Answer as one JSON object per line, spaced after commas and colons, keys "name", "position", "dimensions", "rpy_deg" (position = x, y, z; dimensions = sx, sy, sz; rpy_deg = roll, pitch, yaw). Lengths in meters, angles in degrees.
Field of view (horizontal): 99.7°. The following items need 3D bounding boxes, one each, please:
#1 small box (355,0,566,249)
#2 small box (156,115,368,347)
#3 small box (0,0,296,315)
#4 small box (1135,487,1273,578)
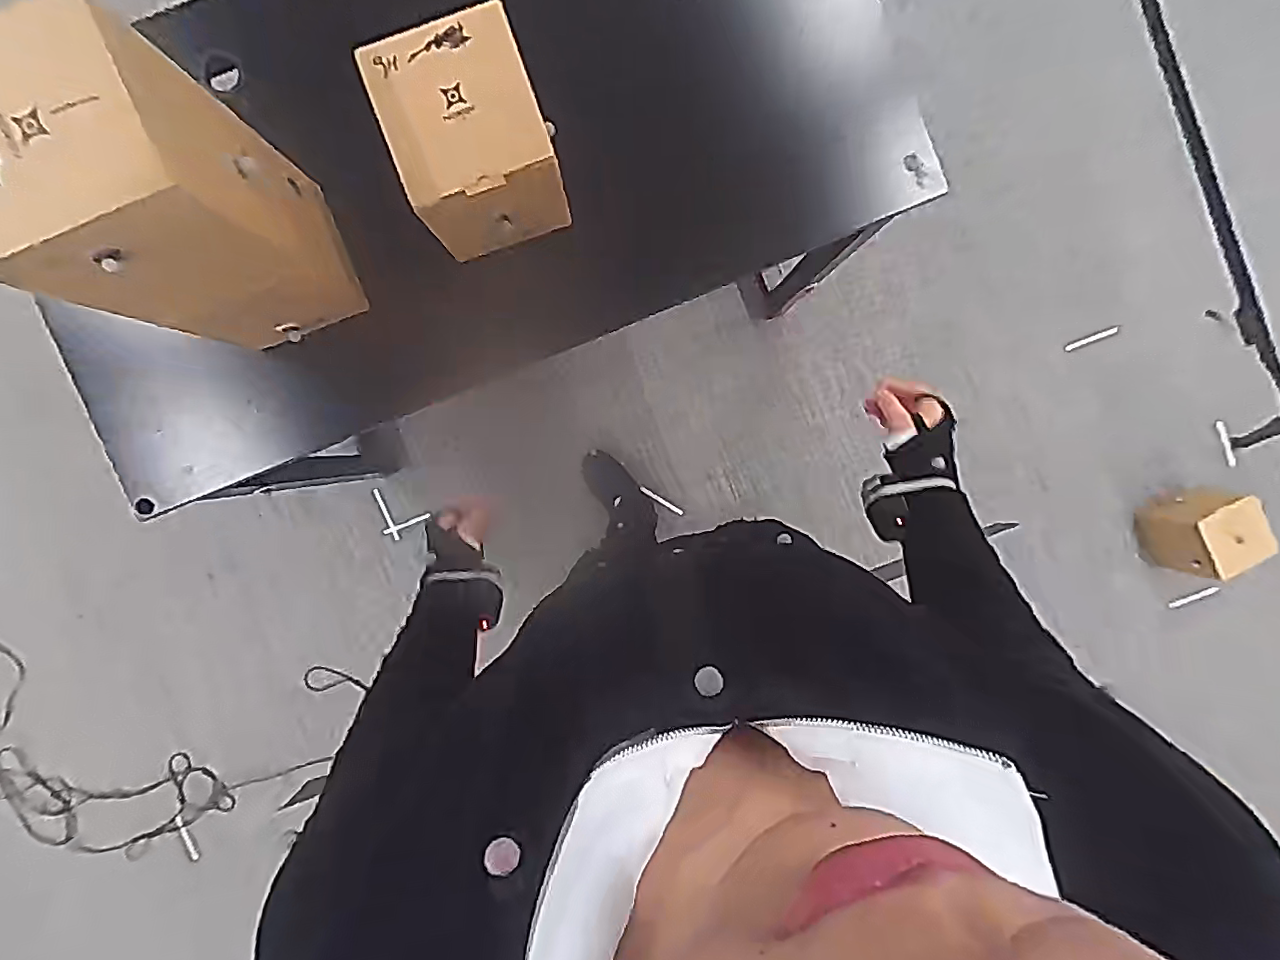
{"name": "small box", "position": [-0.197, -0.402, 0.652], "dimensions": [0.168, 0.176, 0.179], "rpy_deg": [-20, 94, 0]}
{"name": "small box", "position": [-0.471, -0.281, 0.653], "dimensions": [0.168, 0.176, 0.179], "rpy_deg": [-22, 94, 1]}
{"name": "small box", "position": [-0.467, -0.271, 0.489], "dimensions": [0.179, 0.176, 0.168], "rpy_deg": [-23, 93, 0]}
{"name": "small box", "position": [1.505, 0.133, 1.453], "dimensions": [0.168, 0.176, 0.179], "rpy_deg": [-28, 94, 0]}
